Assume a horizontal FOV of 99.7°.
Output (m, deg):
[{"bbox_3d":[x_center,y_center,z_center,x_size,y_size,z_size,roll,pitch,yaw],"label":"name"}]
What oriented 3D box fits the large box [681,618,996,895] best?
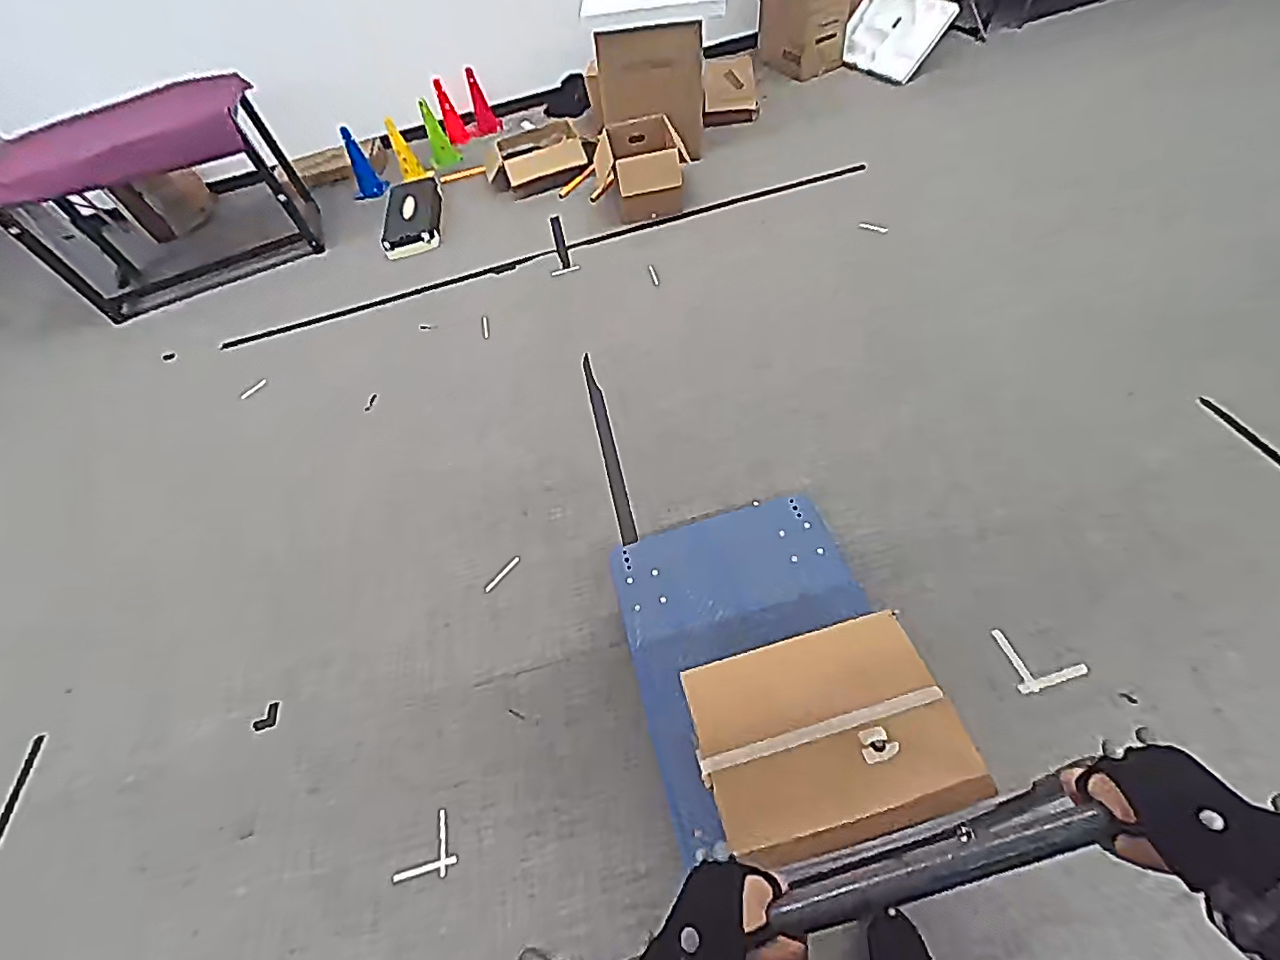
[{"bbox_3d":[0.318,0.509,0.988,0.408,0.320,0.320,-16,52,-2],"label":"large box"}]
